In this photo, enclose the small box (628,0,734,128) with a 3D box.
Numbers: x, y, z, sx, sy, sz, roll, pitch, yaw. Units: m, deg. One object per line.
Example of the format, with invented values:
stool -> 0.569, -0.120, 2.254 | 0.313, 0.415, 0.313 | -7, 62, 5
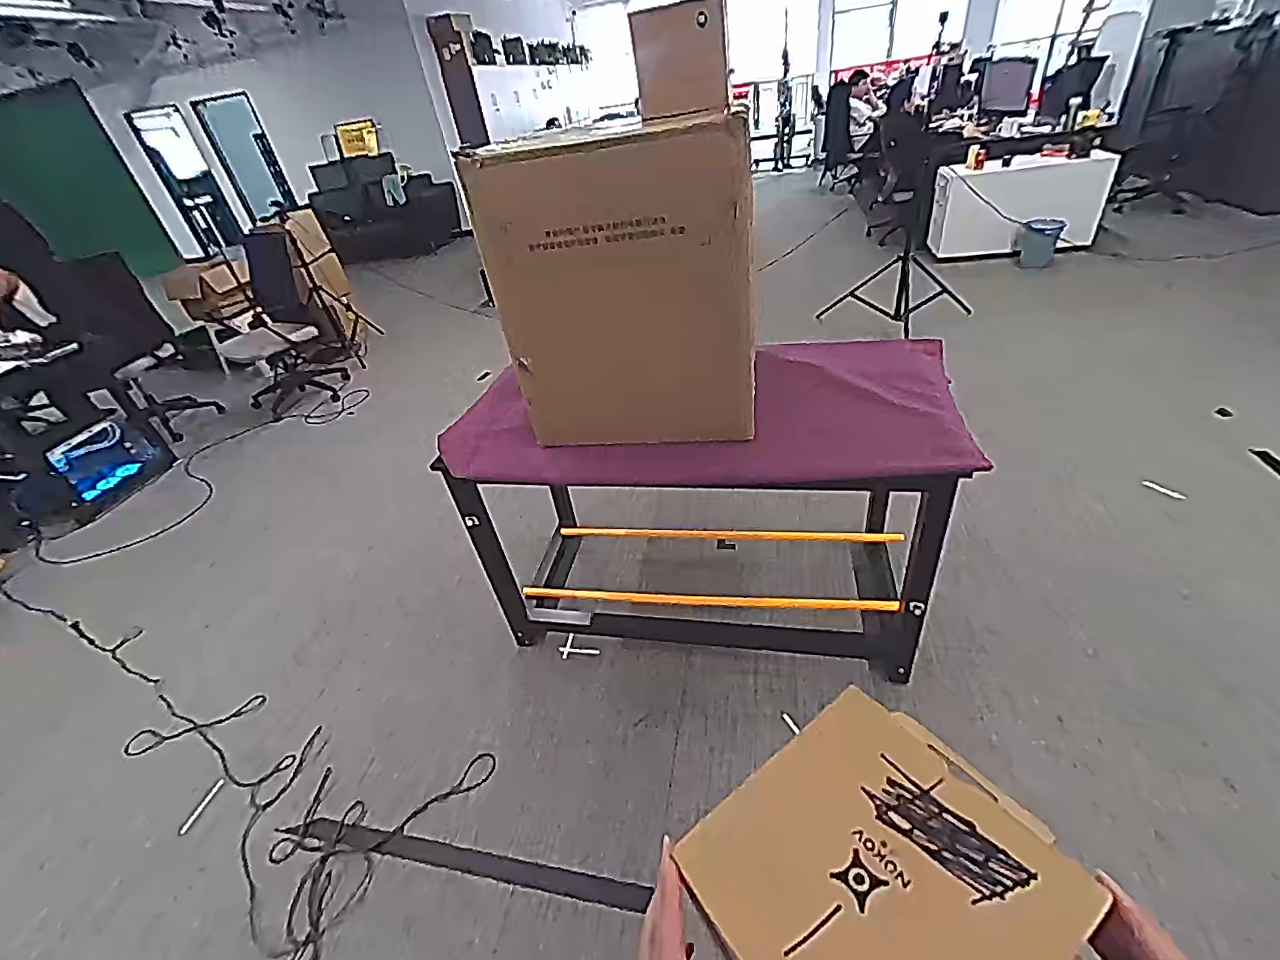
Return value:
small box -> 0.088, -0.806, 1.062 | 0.179, 0.176, 0.168 | -1, 36, 13
